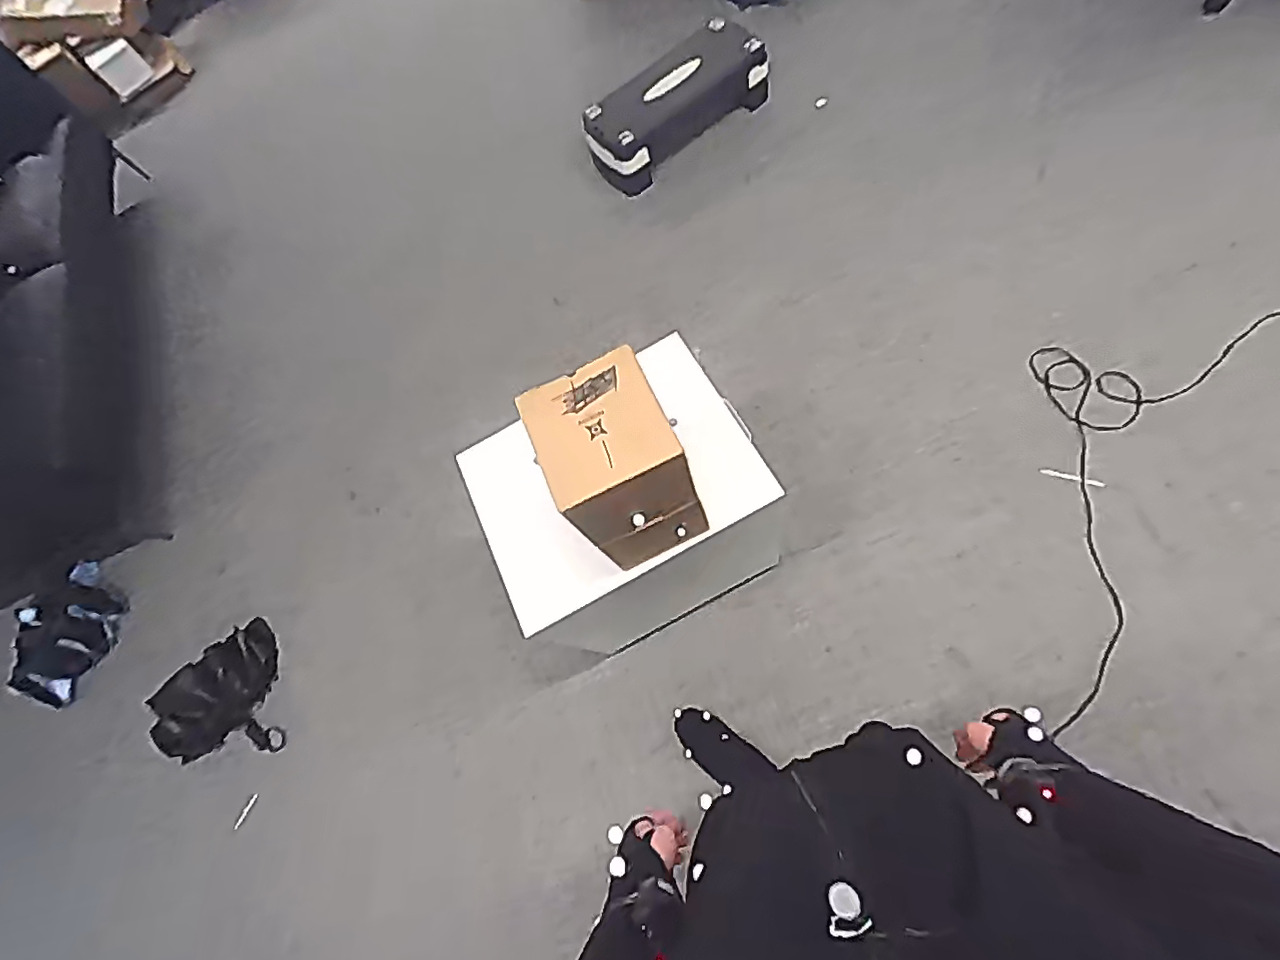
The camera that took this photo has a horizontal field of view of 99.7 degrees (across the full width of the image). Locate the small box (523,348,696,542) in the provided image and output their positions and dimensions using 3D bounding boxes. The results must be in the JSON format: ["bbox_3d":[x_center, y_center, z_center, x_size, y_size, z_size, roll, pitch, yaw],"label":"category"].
[{"bbox_3d":[-0.035,-0.039,0.740,0.168,0.176,0.179,-25,66,2],"label":"small box"}]

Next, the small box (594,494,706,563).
[{"bbox_3d":[-0.002,0.022,0.889,0.168,0.176,0.179,-26,64,1],"label":"small box"}]
